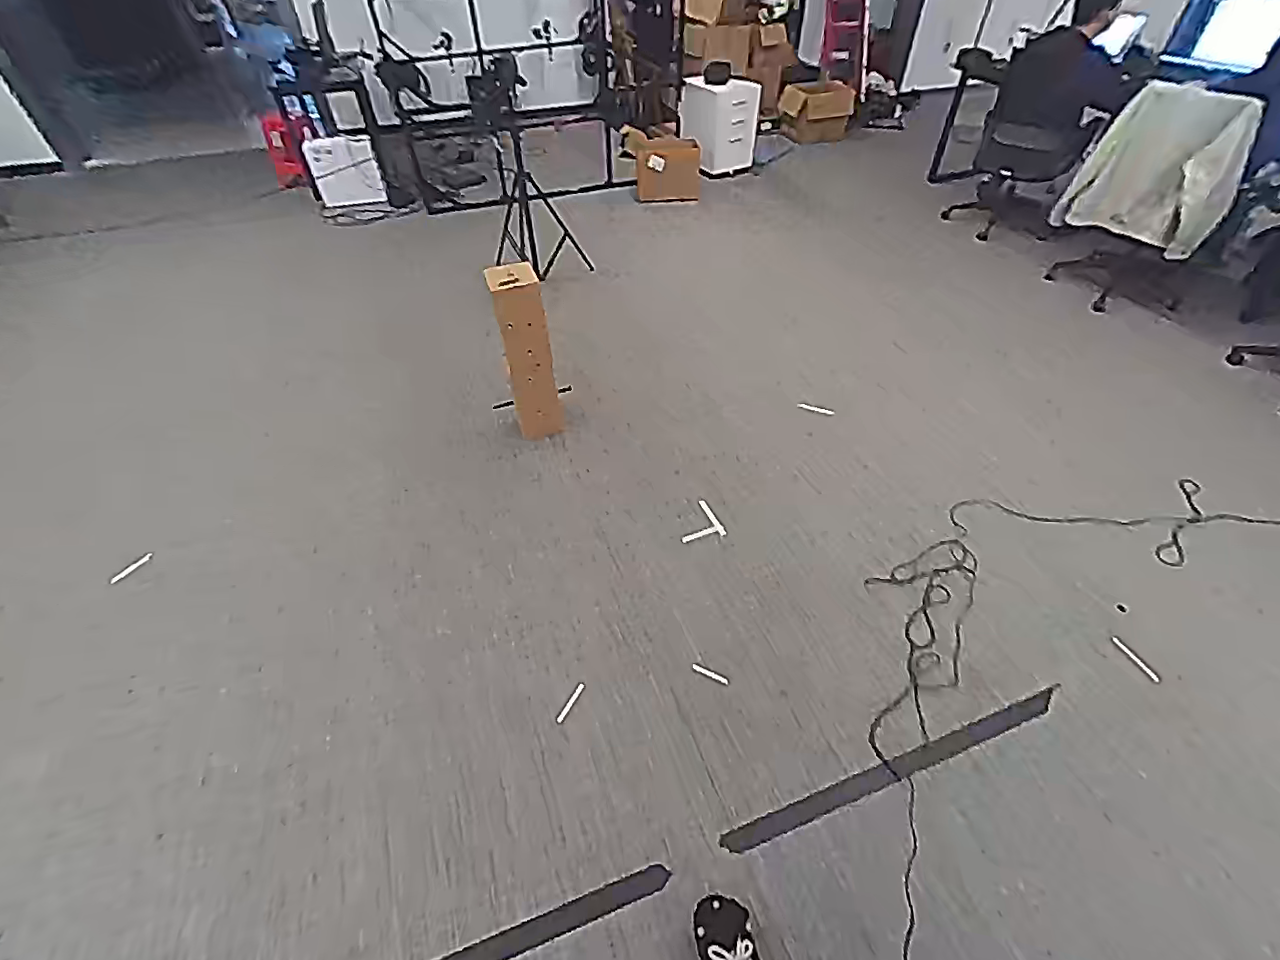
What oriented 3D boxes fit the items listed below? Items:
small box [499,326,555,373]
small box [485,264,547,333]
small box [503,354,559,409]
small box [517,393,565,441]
[{"bbox_3d":[-0.424,-0.517,2.018,0.168,0.176,0.179,-15,49,-12],"label":"small box"},{"bbox_3d":[-0.432,-0.631,1.900,0.168,0.176,0.179,-16,47,-12],"label":"small box"},{"bbox_3d":[-0.428,-0.399,2.133,0.179,0.176,0.168,-14,48,-11],"label":"small box"},{"bbox_3d":[-0.419,-0.290,2.255,0.179,0.176,0.168,-16,48,-13],"label":"small box"}]
